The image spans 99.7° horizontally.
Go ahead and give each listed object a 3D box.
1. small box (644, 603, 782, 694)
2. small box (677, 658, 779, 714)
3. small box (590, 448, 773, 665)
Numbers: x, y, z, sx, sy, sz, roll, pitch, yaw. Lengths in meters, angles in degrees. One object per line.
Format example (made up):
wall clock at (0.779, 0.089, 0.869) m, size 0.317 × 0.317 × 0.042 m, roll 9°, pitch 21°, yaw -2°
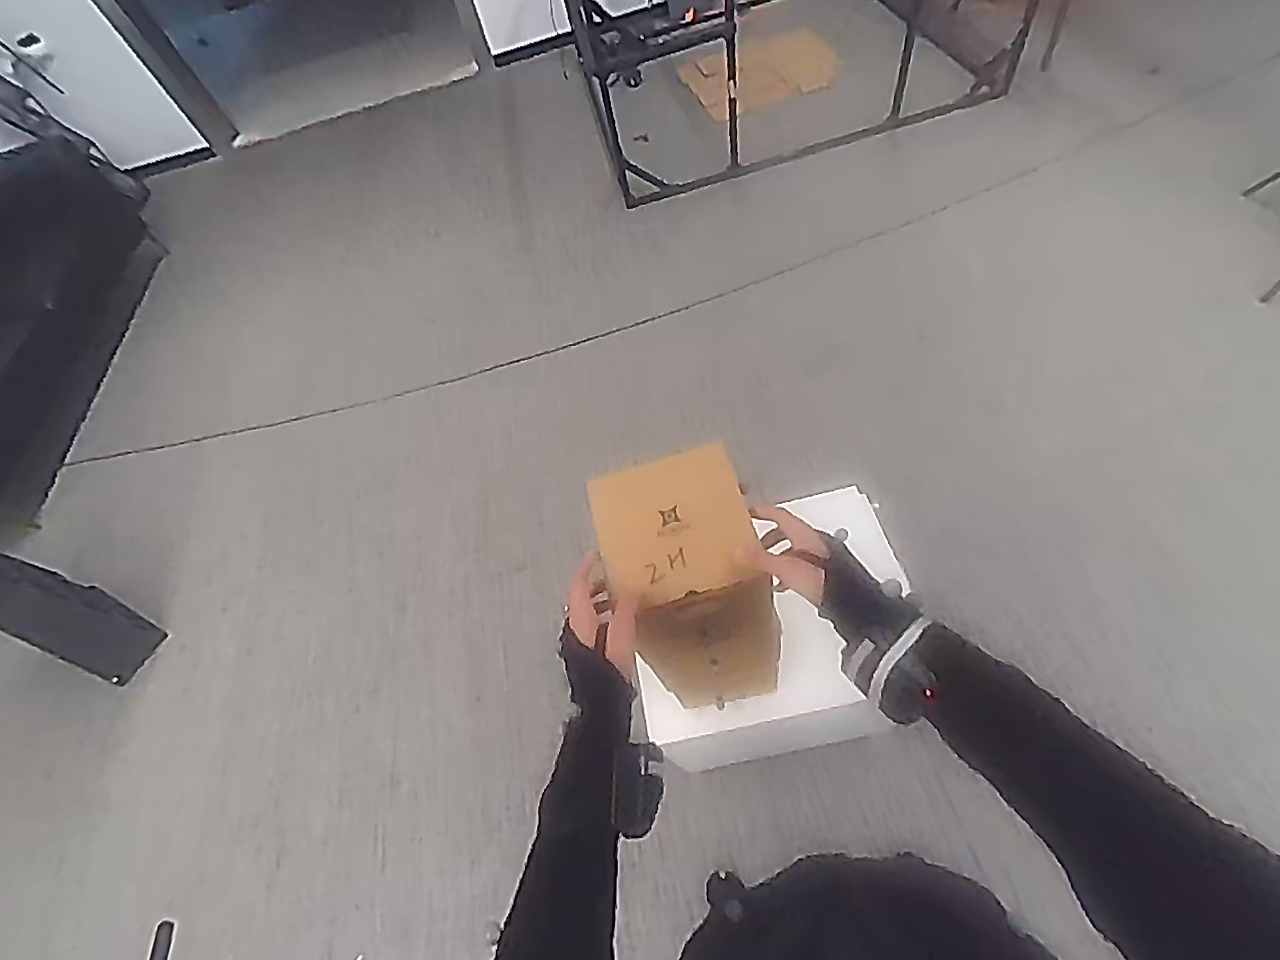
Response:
small box at (0.091, 0.187, 0.774) m, size 0.179 × 0.176 × 0.168 m, roll -18°, pitch 54°, yaw 3°
small box at (0.128, 0.274, 0.908) m, size 0.168 × 0.176 × 0.179 m, roll -14°, pitch 55°, yaw 5°
small box at (0.051, 0.096, 0.643) m, size 0.168 × 0.176 × 0.179 m, roll -17°, pitch 54°, yaw 3°
